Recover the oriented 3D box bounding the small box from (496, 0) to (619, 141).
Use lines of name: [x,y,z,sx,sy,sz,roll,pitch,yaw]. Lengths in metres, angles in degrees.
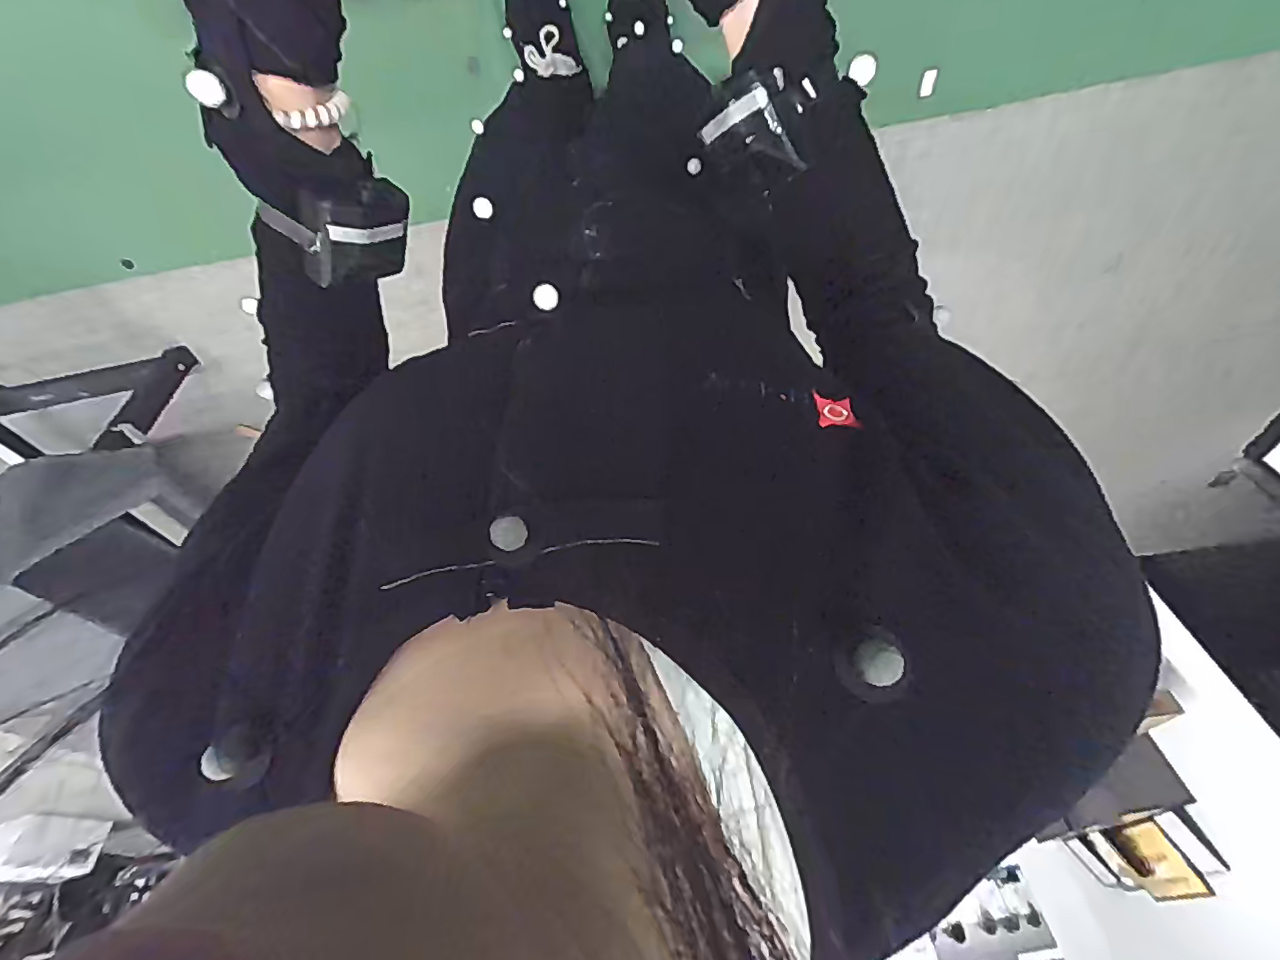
small box: [-0.162,-0.793,1.029,0.179,0.176,0.168,24,142,-11]
